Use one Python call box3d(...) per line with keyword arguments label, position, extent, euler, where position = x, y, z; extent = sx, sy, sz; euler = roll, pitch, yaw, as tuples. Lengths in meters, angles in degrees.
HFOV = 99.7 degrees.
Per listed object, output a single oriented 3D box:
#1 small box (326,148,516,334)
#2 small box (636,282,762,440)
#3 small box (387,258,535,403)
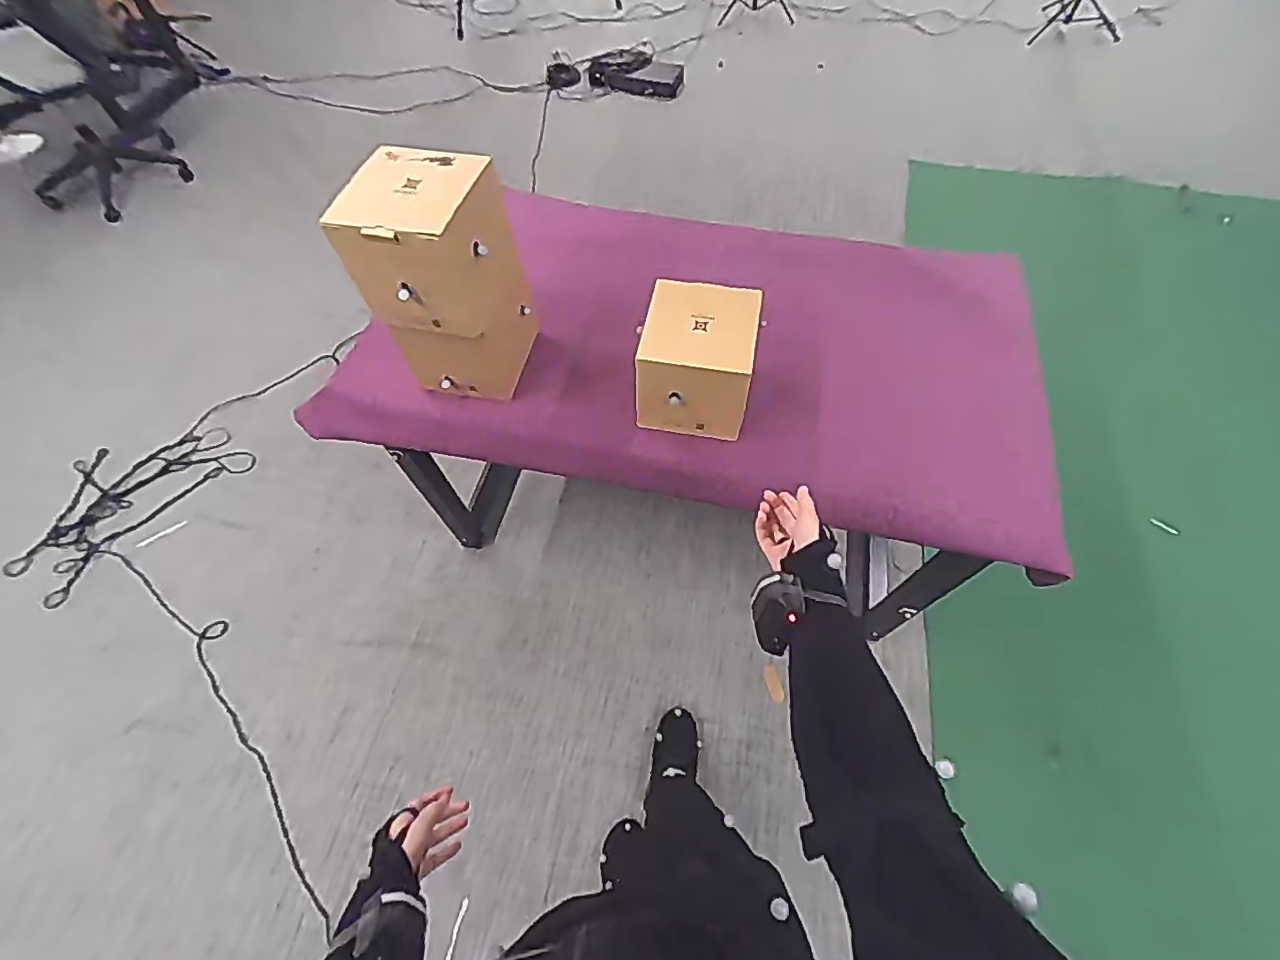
box3d(label="small box", position=(-0.291, -0.332, 0.767), extent=(0.168, 0.176, 0.179), euler=(11, 61, 8))
box3d(label="small box", position=(0.093, -0.185, 0.863), extent=(0.168, 0.176, 0.179), euler=(9, 59, 7))
box3d(label="small box", position=(-0.286, -0.259, 0.914), extent=(0.168, 0.176, 0.179), euler=(9, 61, 7))
